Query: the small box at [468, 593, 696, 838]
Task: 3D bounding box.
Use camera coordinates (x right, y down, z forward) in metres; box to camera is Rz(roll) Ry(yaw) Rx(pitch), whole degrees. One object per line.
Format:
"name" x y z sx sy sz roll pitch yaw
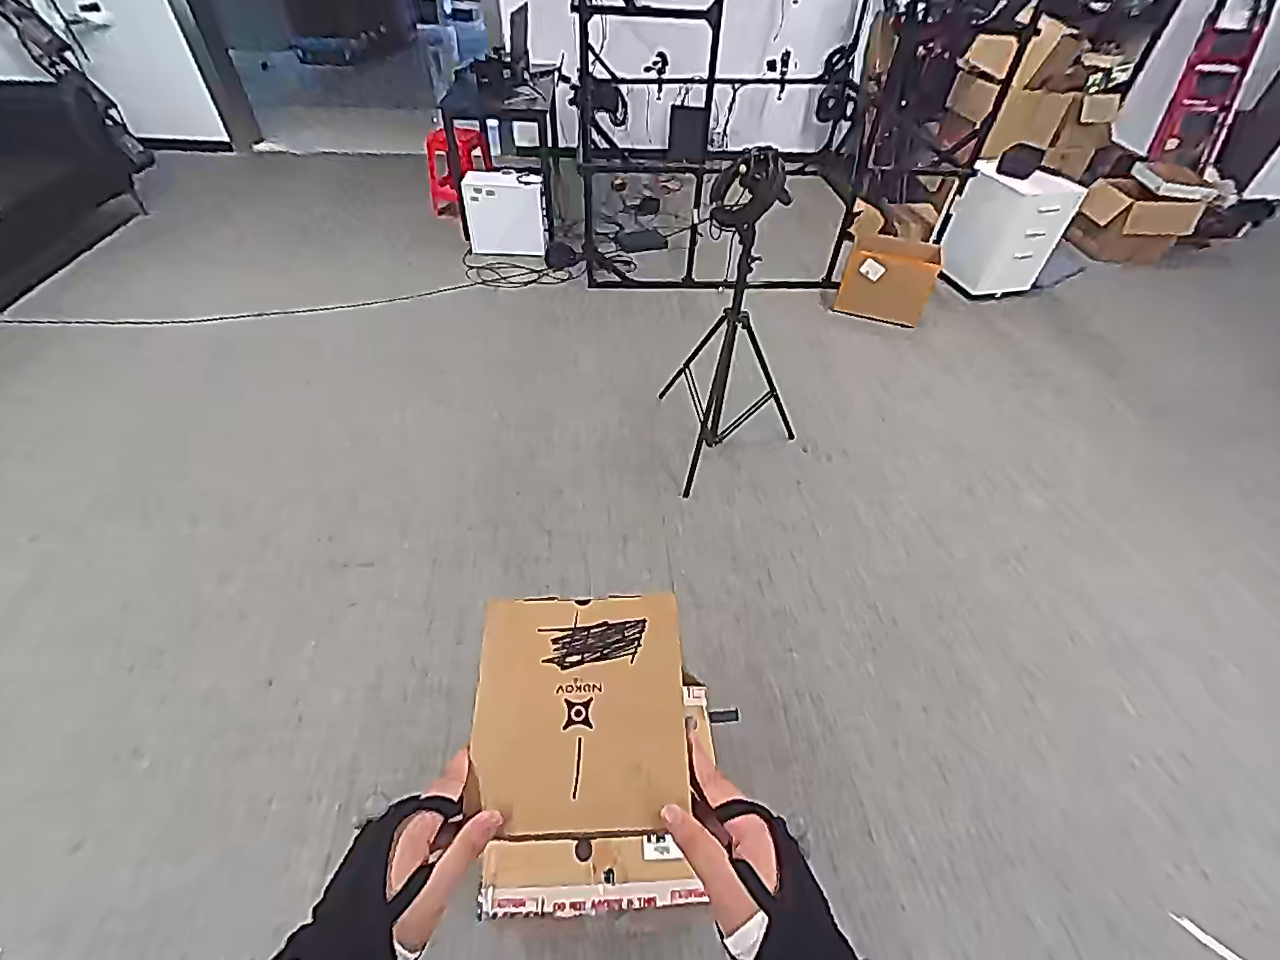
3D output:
"small box" -0.042 0.219 0.495 0.168 0.176 0.179 -2 56 0
